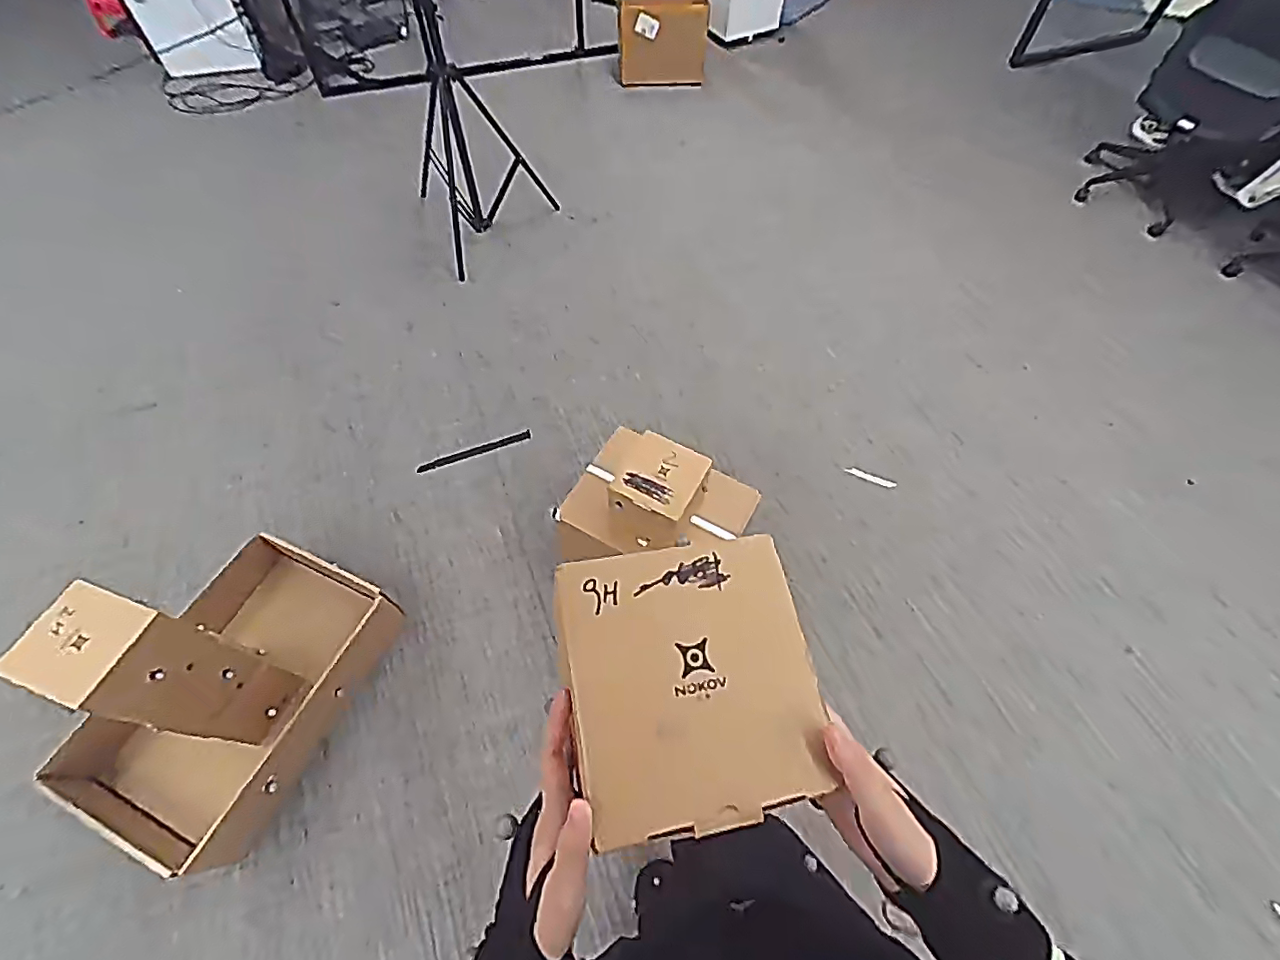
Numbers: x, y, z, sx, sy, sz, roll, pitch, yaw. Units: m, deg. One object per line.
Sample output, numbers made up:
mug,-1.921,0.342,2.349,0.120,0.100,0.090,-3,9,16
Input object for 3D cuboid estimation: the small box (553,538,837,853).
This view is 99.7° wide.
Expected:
small box,0.023,0.163,0.436,0.168,0.176,0.179,-7,67,-13

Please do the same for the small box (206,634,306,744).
small box,-0.917,0.480,1.227,0.179,0.176,0.168,22,61,10

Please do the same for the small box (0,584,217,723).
small box,-0.909,0.311,0.947,0.179,0.176,0.168,18,58,8

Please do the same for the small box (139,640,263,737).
small box,-0.917,0.400,1.086,0.179,0.176,0.168,17,59,10
